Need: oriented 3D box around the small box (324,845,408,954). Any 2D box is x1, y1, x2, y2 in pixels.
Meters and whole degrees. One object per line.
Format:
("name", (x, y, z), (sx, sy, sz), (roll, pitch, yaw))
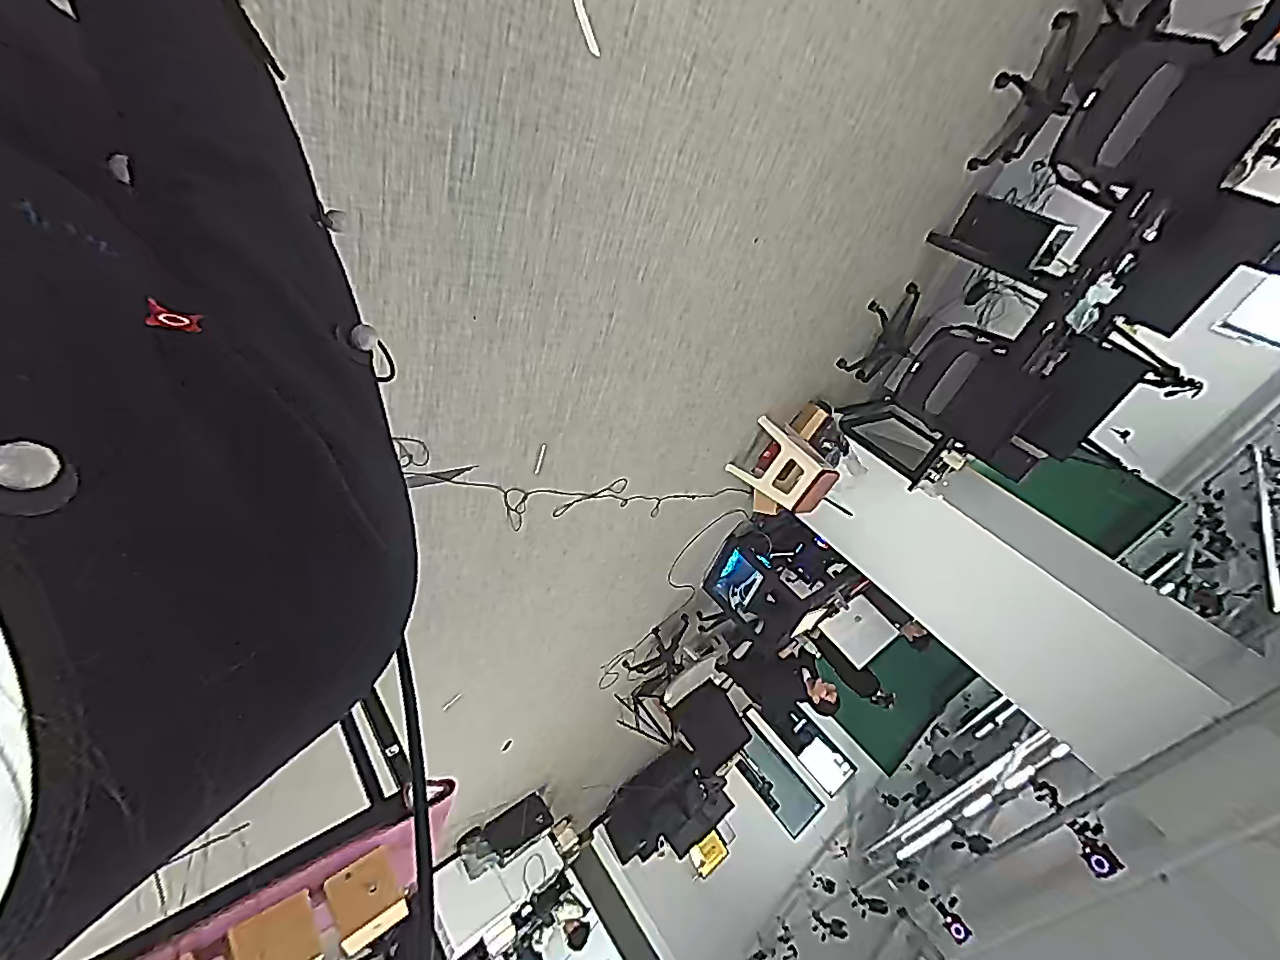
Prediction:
("small box", (-0.788, 1.199, 1.556), (0.168, 0.176, 0.179), (-21, 141, -36))
